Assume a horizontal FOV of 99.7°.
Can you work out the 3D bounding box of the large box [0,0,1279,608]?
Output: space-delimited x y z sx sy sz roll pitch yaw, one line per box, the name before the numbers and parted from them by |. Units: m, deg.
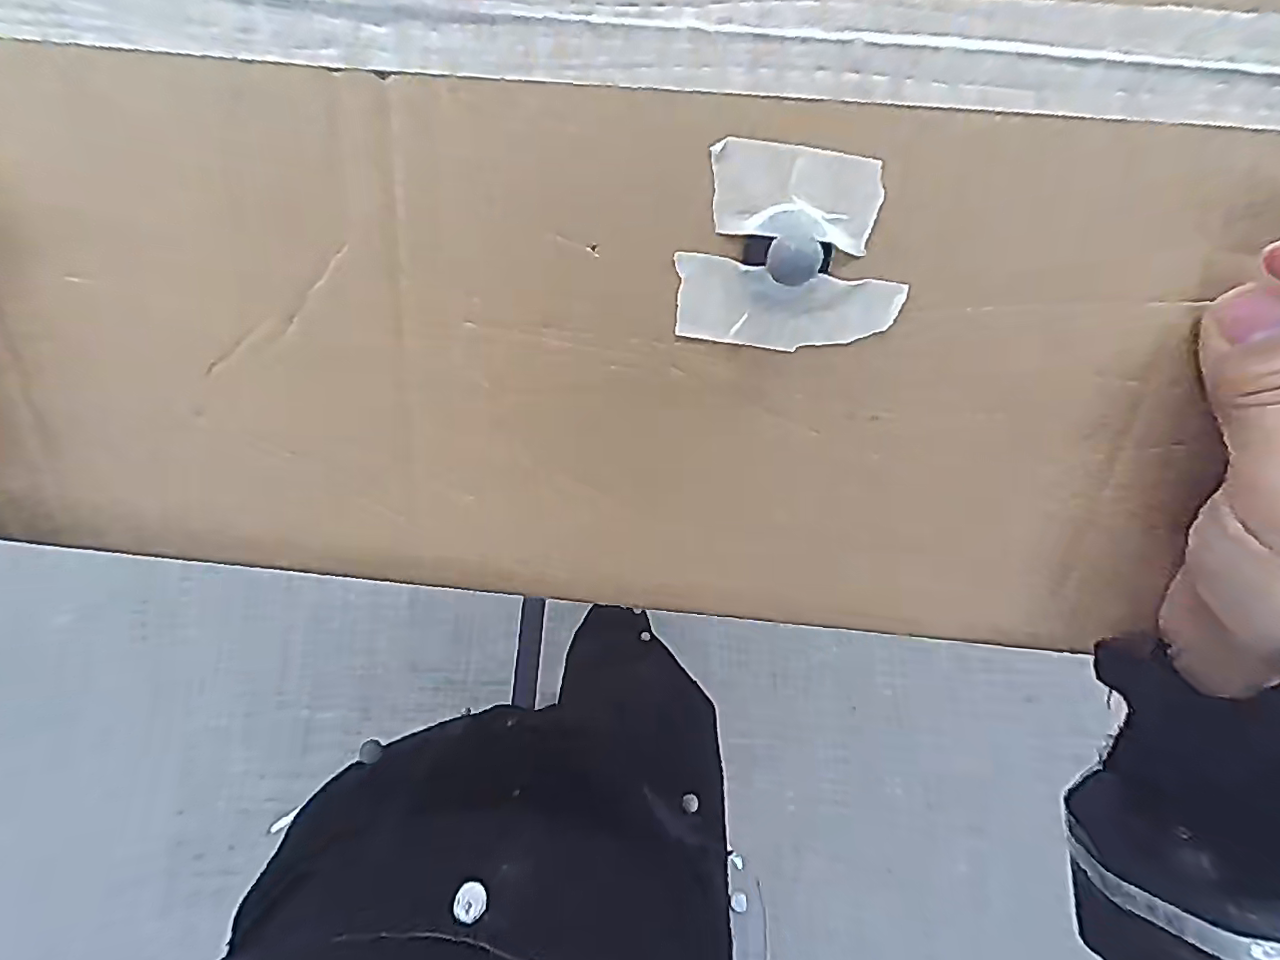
large box | -0.013 -0.160 0.283 0.408 0.320 0.320 5 111 1
